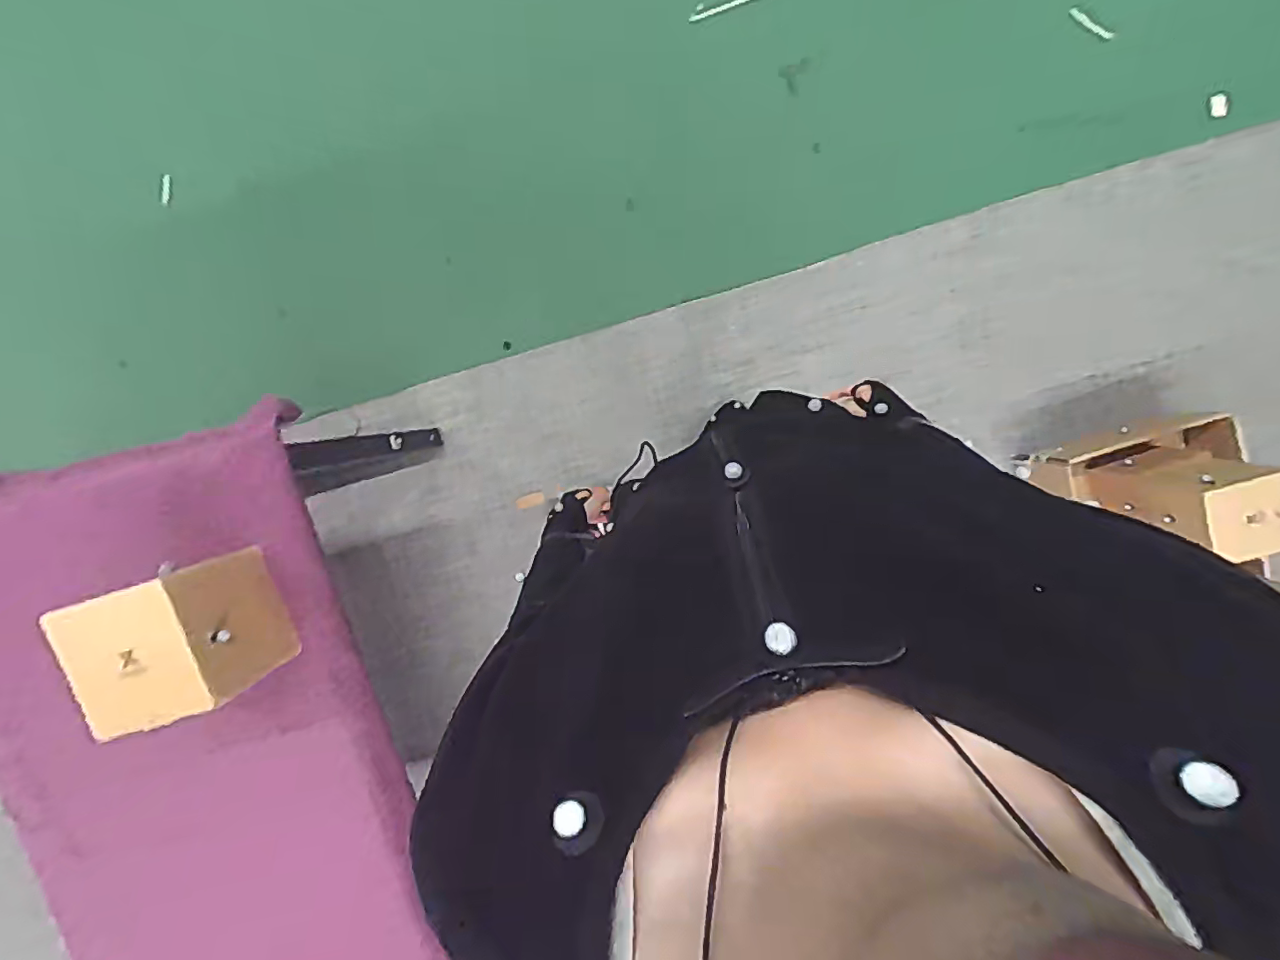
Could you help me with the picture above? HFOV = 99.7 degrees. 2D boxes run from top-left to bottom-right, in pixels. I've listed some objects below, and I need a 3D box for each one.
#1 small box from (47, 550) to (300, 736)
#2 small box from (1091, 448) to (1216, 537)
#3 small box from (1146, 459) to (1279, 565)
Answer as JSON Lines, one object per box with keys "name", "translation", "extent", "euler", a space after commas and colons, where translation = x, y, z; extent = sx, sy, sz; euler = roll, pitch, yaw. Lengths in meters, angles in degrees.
{"name": "small box", "translation": [-0.619, 0.207, 0.743], "extent": [0.168, 0.176, 0.179], "euler": [-17, 98, 4]}
{"name": "small box", "translation": [1.257, 0.027, 1.318], "extent": [0.168, 0.176, 0.179], "euler": [-21, 98, 7]}
{"name": "small box", "translation": [1.242, 0.062, 1.159], "extent": [0.179, 0.176, 0.168], "euler": [-17, 98, 6]}
